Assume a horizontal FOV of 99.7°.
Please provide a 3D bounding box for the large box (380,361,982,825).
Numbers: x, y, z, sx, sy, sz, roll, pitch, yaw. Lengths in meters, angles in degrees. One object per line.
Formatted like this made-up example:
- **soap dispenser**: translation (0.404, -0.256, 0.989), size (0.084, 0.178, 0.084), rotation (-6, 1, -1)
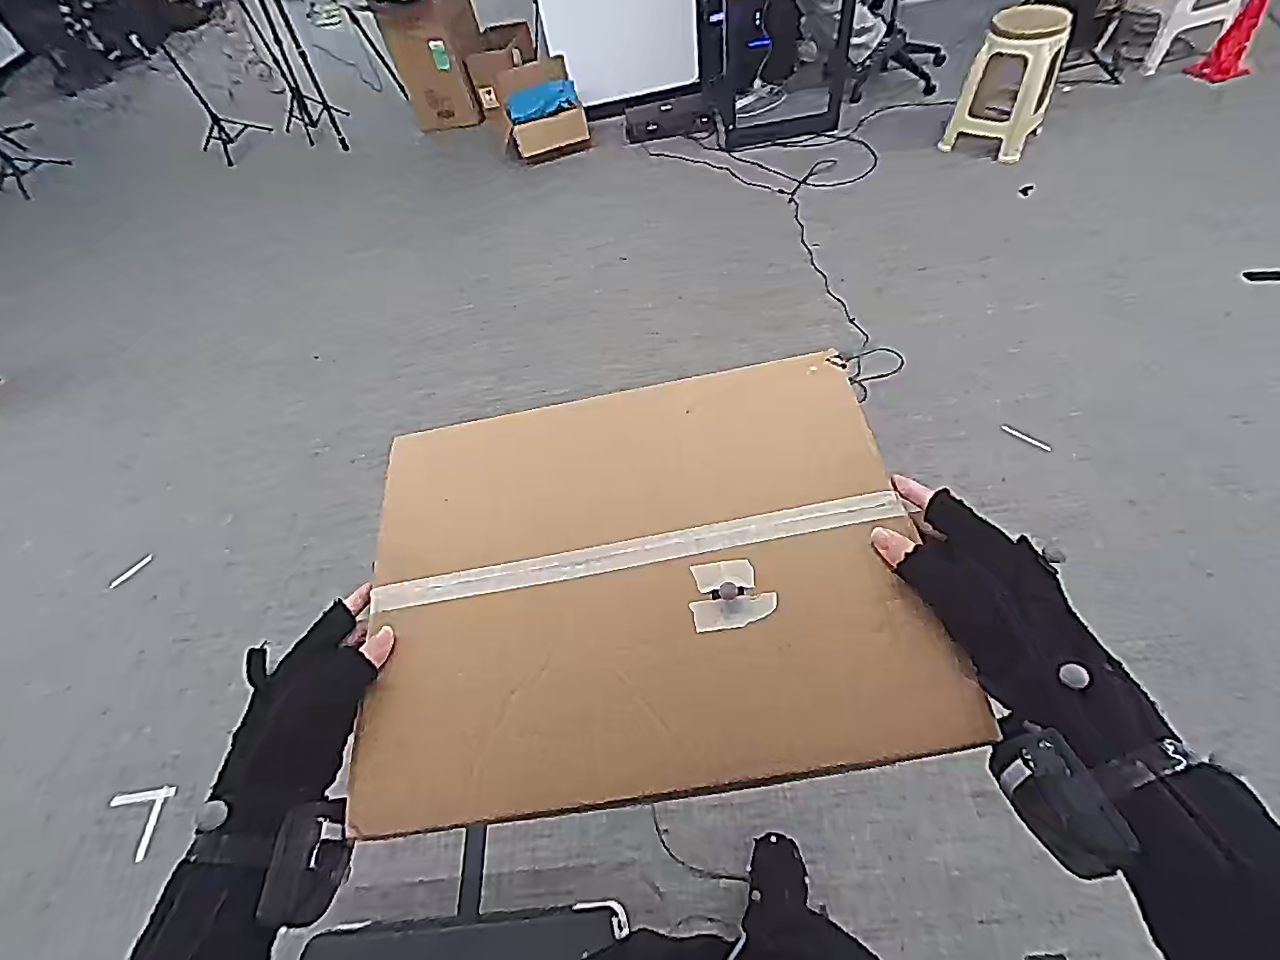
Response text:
- **large box**: translation (0.020, 0.132, 0.548), size (0.408, 0.320, 0.320), rotation (-11, 60, 3)
